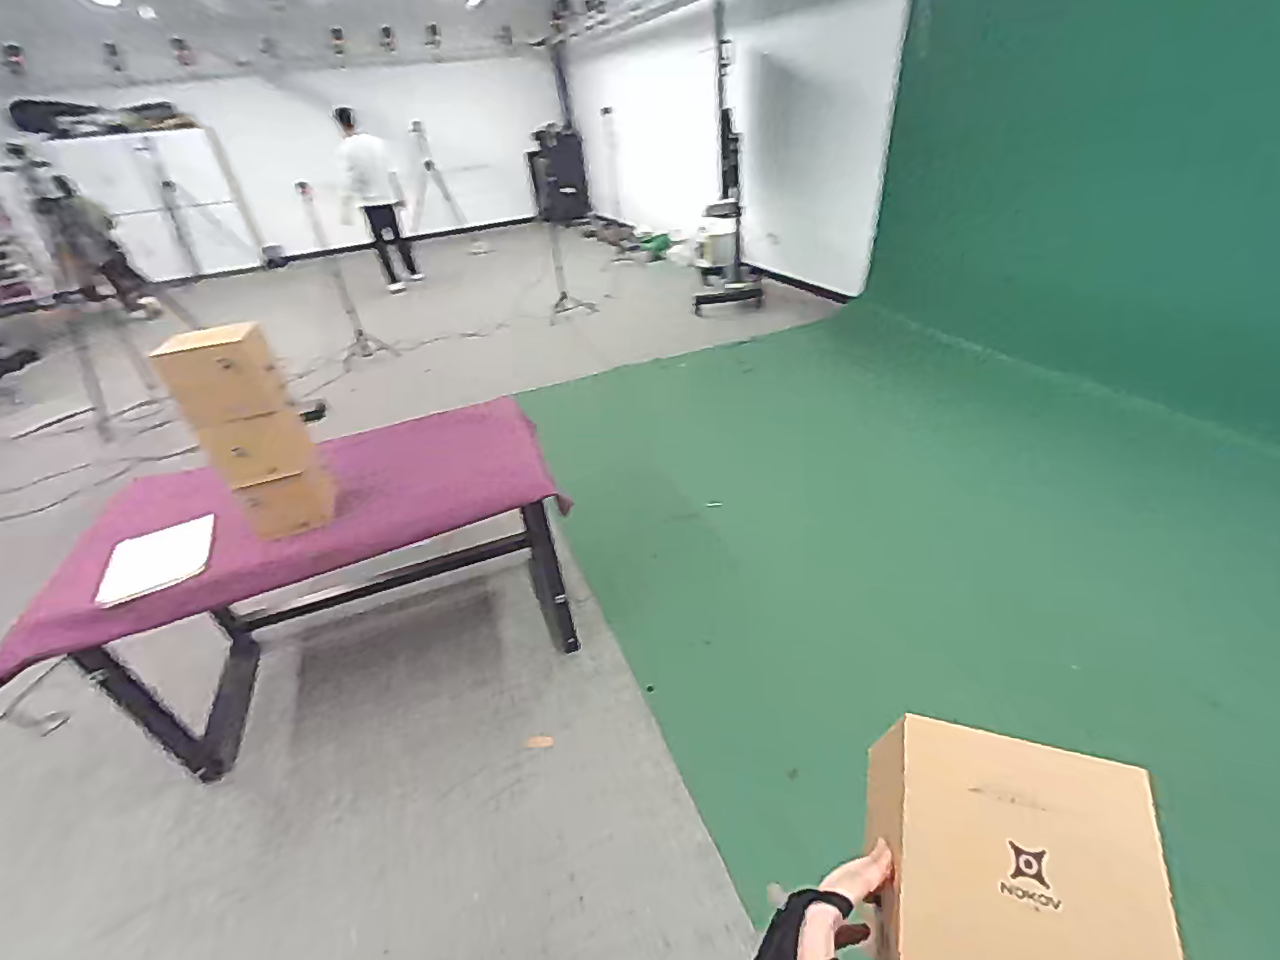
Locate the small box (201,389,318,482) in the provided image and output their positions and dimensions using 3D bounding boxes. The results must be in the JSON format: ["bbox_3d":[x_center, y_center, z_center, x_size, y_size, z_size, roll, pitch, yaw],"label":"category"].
[{"bbox_3d":[-0.915,-0.111,1.321,0.168,0.176,0.179,-16,34,-14],"label":"small box"}]

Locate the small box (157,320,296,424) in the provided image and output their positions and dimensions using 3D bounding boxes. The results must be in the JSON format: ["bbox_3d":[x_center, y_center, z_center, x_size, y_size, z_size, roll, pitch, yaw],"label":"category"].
[{"bbox_3d":[-0.920,-0.247,1.228,0.179,0.176,0.168,-15,33,-12],"label":"small box"}]
